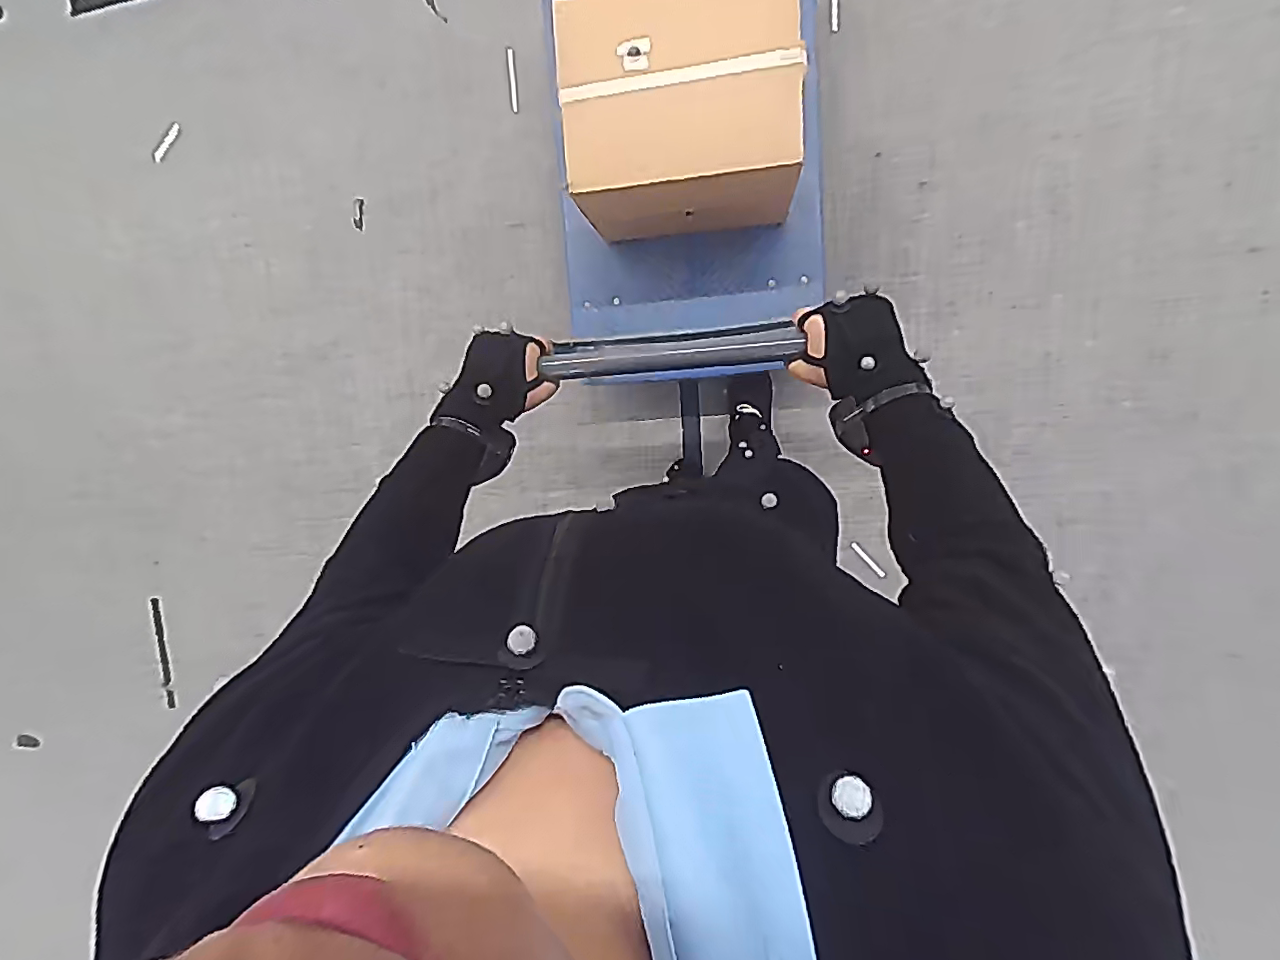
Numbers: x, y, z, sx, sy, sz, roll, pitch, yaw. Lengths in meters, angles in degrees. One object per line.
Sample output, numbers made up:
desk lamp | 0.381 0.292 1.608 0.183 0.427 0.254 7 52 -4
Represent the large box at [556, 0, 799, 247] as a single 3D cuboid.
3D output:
large box | 0.086 -0.680 1.063 0.408 0.320 0.320 -3 96 10
